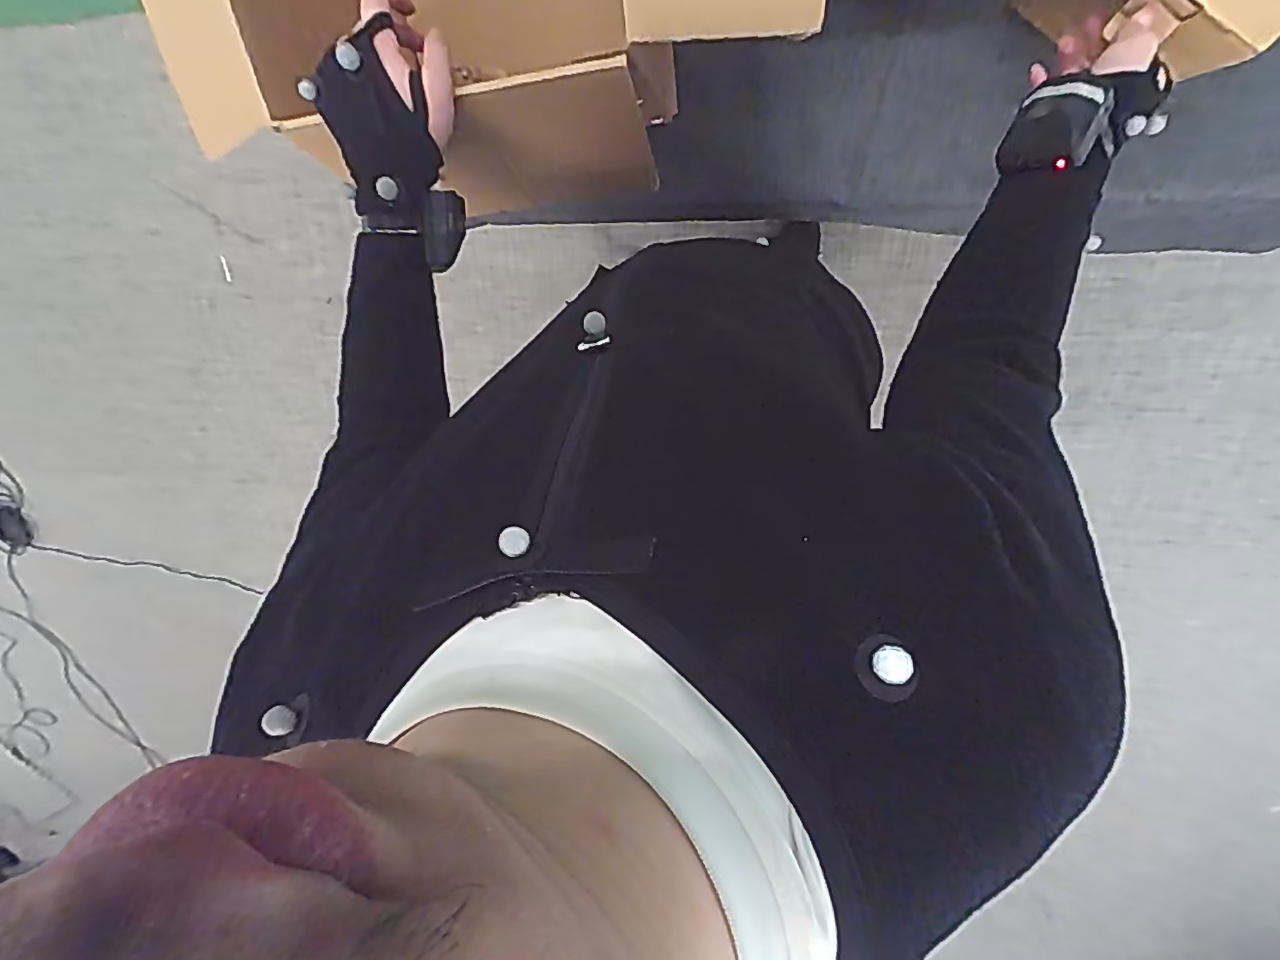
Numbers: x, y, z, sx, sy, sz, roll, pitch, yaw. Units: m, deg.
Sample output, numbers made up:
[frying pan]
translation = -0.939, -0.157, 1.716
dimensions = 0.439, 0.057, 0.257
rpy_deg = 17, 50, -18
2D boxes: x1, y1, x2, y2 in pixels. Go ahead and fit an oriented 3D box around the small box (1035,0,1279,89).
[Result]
[small box]
translation = 0.485, -0.478, 0.461
dimensions = 0.168, 0.176, 0.179
rpy_deg = 33, 118, -6
